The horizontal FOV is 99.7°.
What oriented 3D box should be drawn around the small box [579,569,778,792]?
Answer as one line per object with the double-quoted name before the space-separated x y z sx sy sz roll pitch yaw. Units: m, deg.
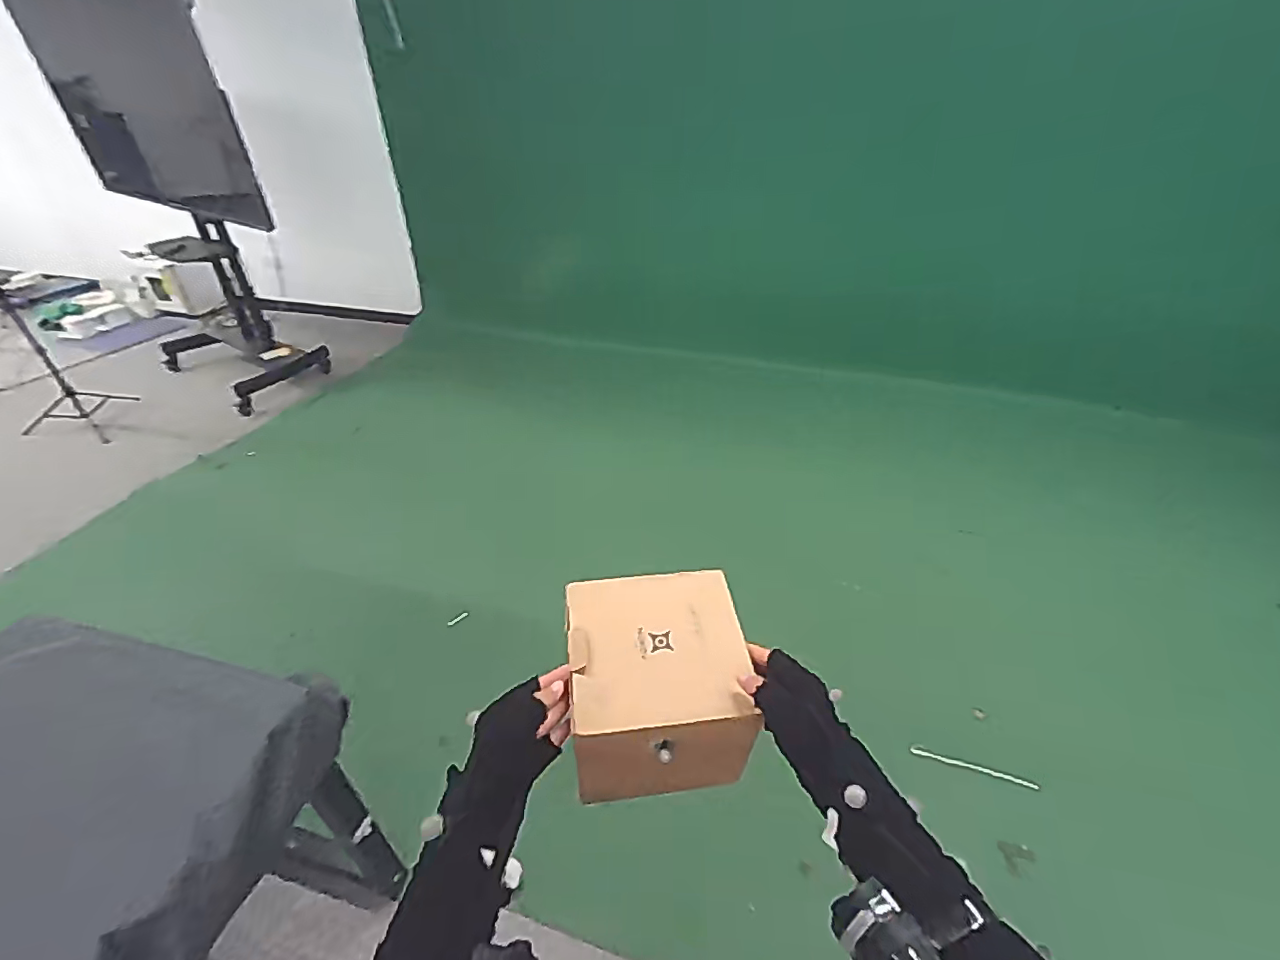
"small box" 0.027 0.218 0.590 0.179 0.176 0.168 -3 42 -8
